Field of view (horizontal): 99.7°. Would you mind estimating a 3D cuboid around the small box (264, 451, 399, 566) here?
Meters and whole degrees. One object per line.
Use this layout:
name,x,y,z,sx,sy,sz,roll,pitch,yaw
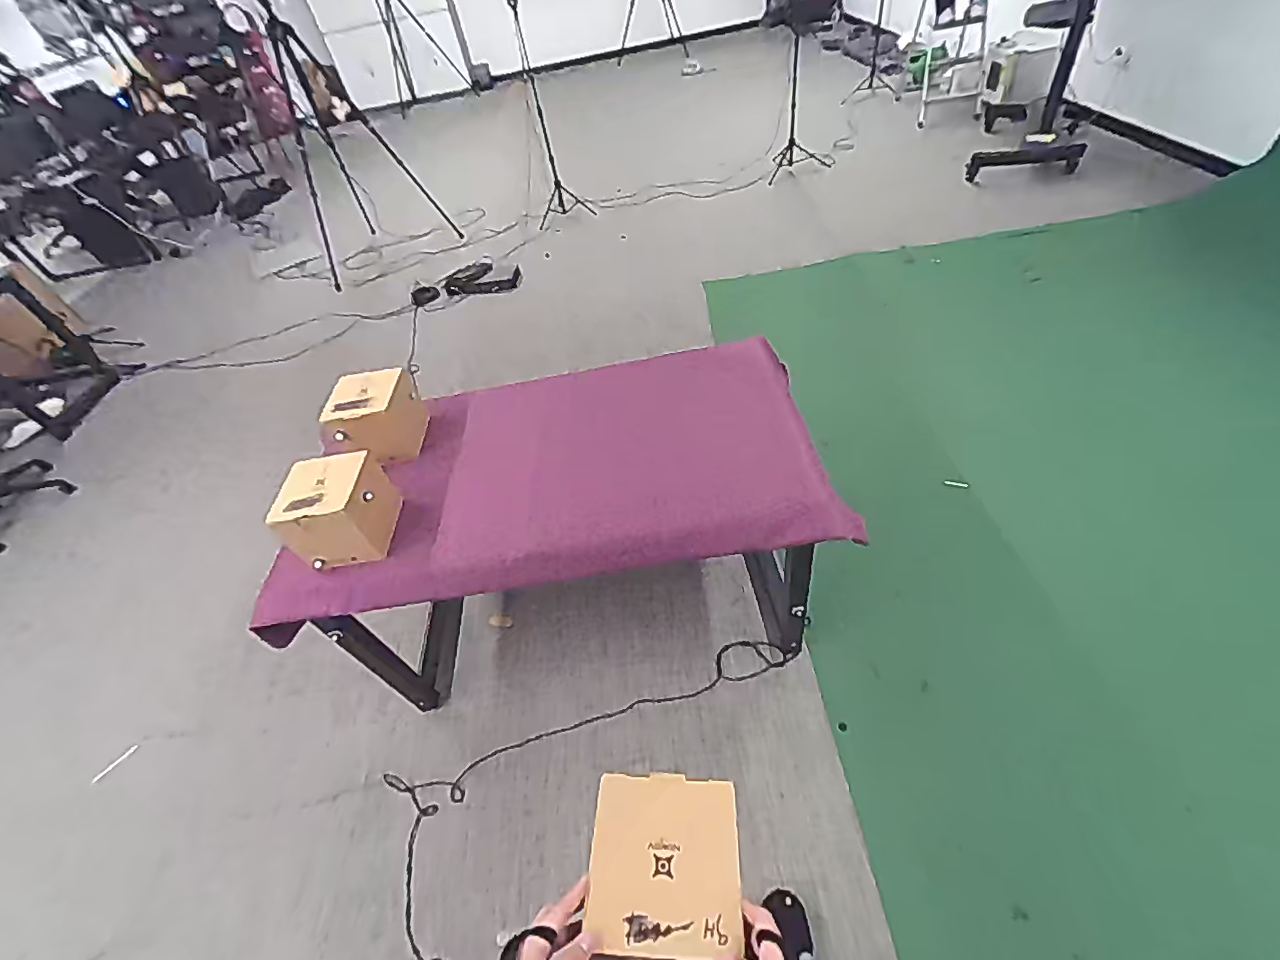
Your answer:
small box,-0.643,0.068,1.155,0.168,0.176,0.179,-9,46,3
